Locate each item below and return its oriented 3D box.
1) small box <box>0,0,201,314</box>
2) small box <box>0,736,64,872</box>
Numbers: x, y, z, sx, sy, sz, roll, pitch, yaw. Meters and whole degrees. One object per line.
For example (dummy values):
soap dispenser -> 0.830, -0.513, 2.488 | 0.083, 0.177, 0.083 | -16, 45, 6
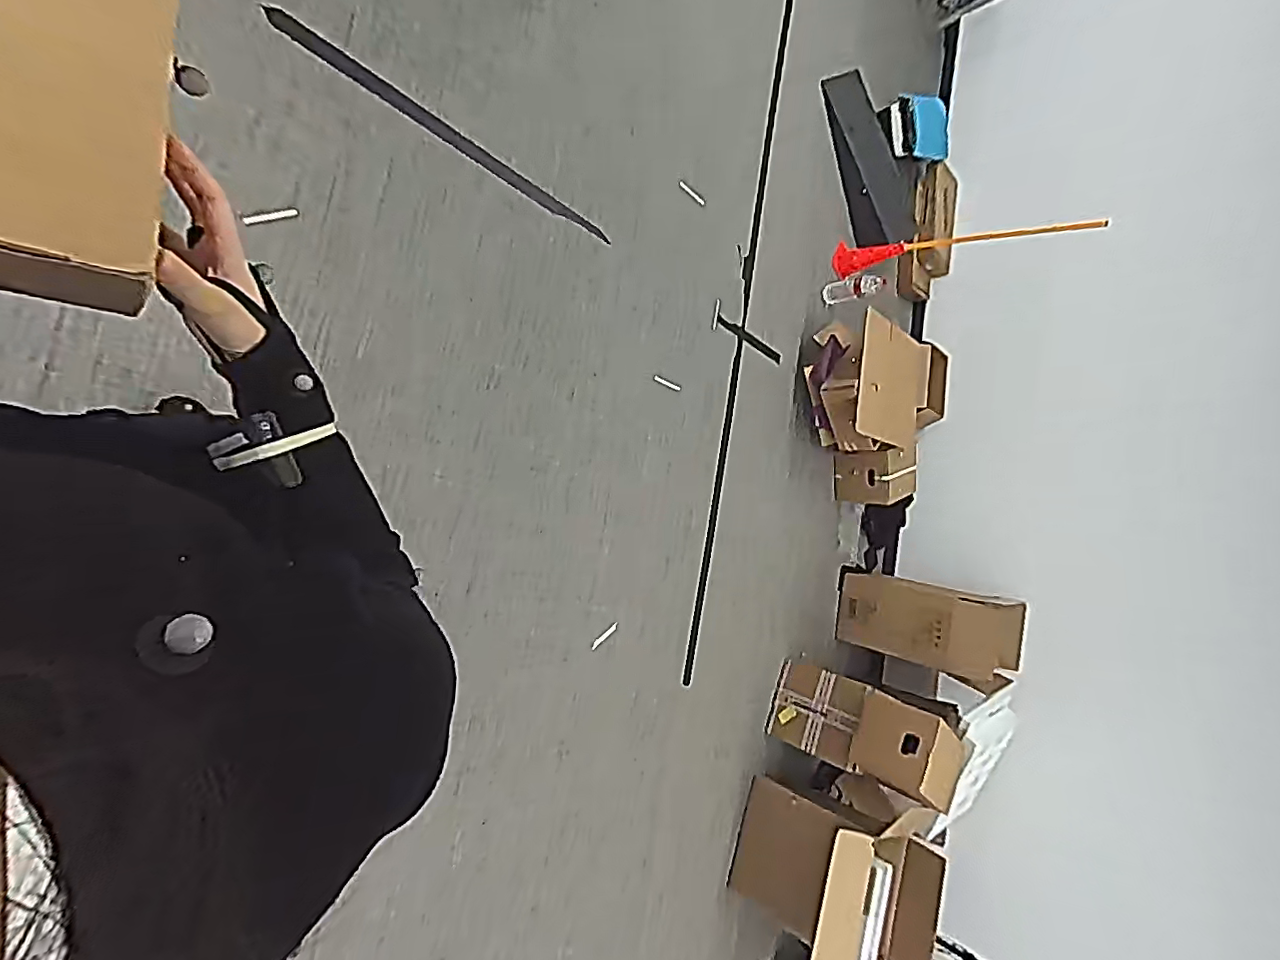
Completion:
small box -> -0.362, -0.205, 0.294 | 0.168, 0.176, 0.179 | 4, 93, -45
small box -> -1.154, 0.559, 0.936 | 0.179, 0.176, 0.168 | 23, 76, -43
